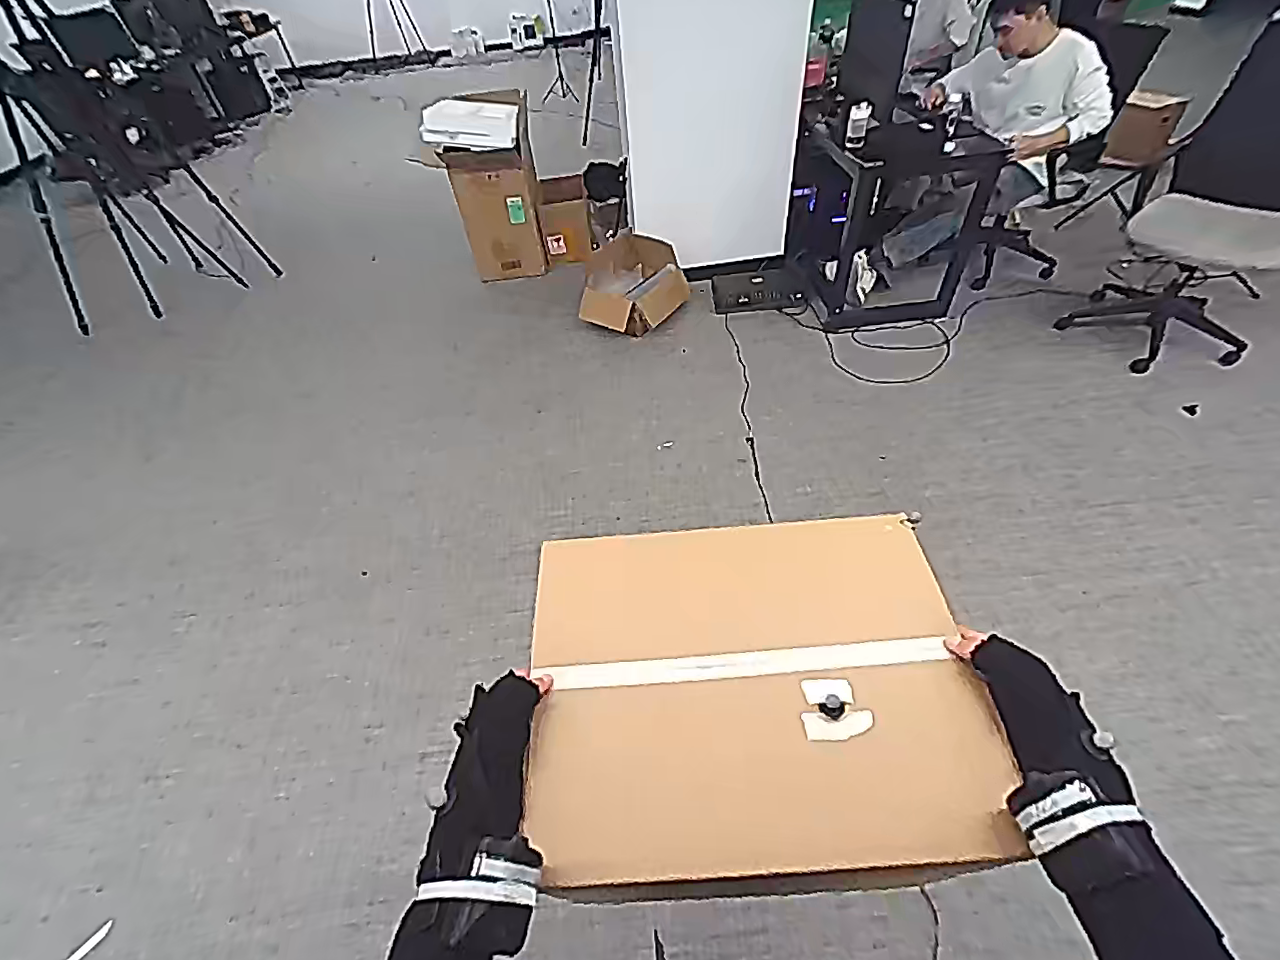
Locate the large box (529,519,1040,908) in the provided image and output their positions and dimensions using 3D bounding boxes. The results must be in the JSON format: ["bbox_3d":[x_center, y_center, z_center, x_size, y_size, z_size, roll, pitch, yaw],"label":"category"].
[{"bbox_3d":[0.110,0.273,0.621,0.408,0.320,0.320,-5,50,1],"label":"large box"}]
